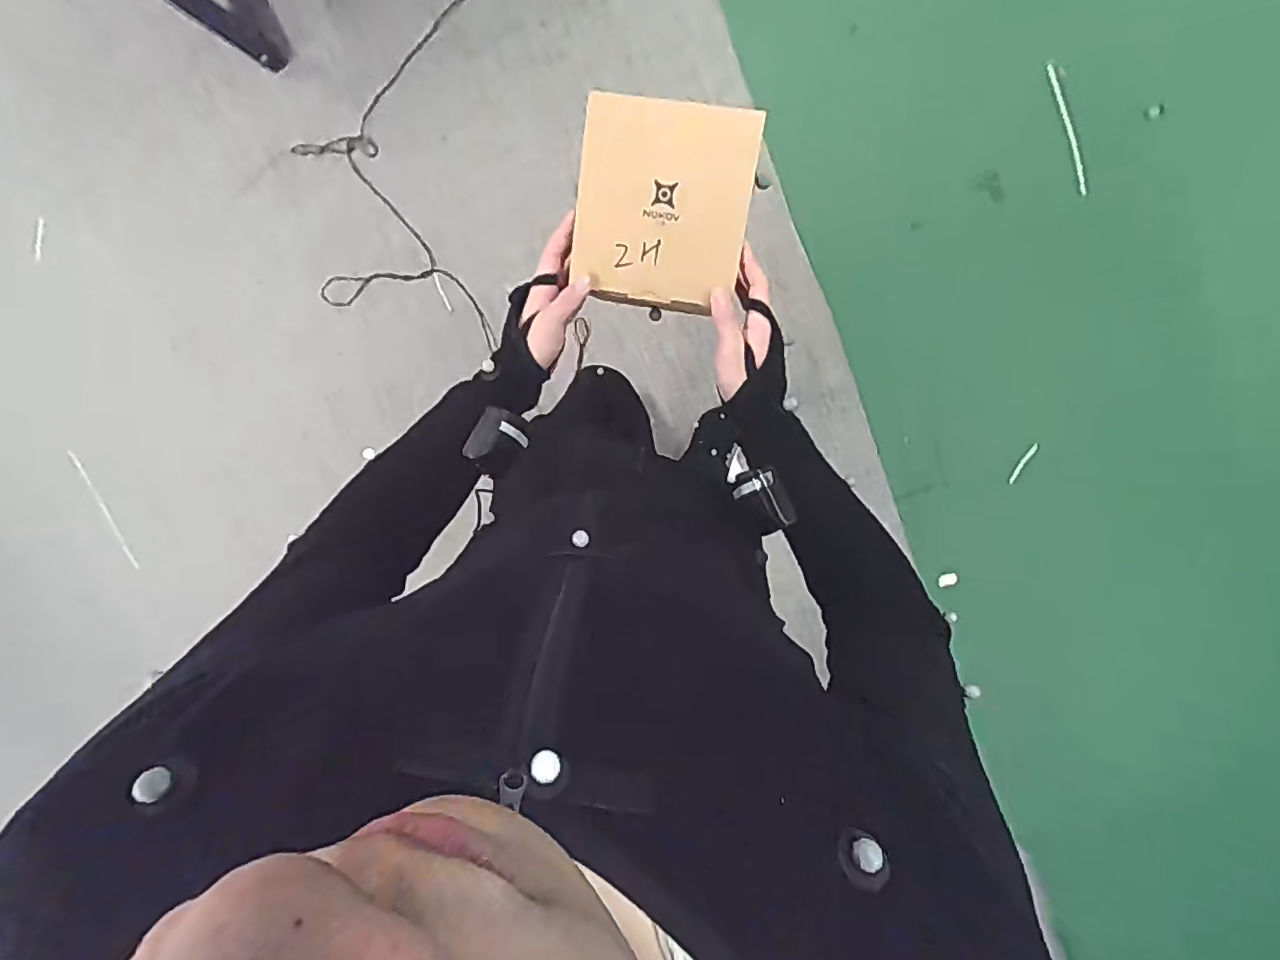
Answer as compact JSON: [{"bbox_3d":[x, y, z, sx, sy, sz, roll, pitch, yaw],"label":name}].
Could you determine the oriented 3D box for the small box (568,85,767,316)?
[{"bbox_3d":[0.029,-0.281,0.582,0.168,0.176,0.179,10,105,4],"label":"small box"}]
